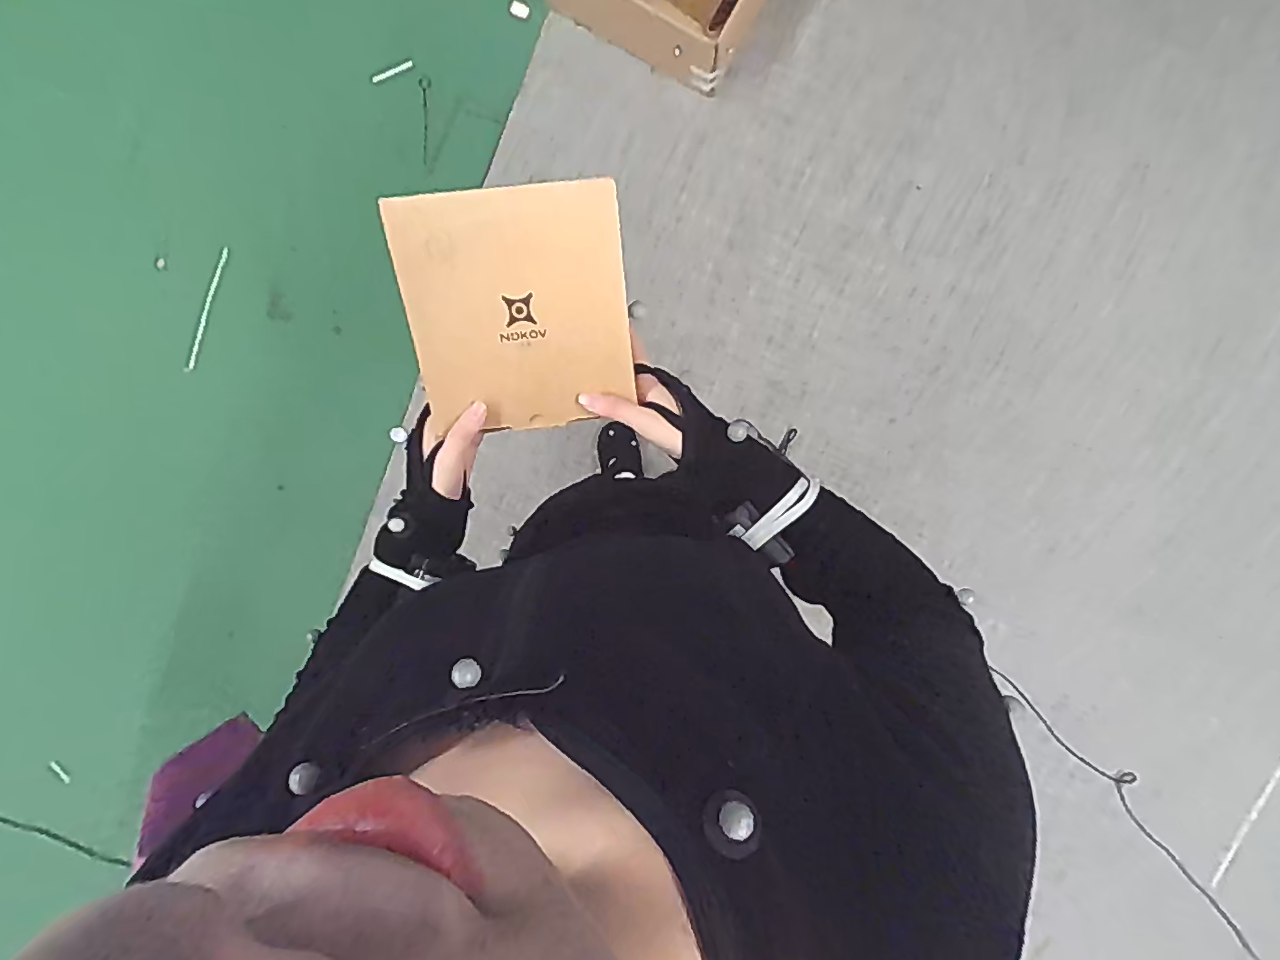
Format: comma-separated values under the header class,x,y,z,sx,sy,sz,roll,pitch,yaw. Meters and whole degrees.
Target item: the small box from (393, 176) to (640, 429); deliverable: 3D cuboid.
class,x,y,z,sx,sy,sz,roll,pitch,yaw
small box,-0.094,-0.159,0.483,0.168,0.176,0.179,-6,115,-3
